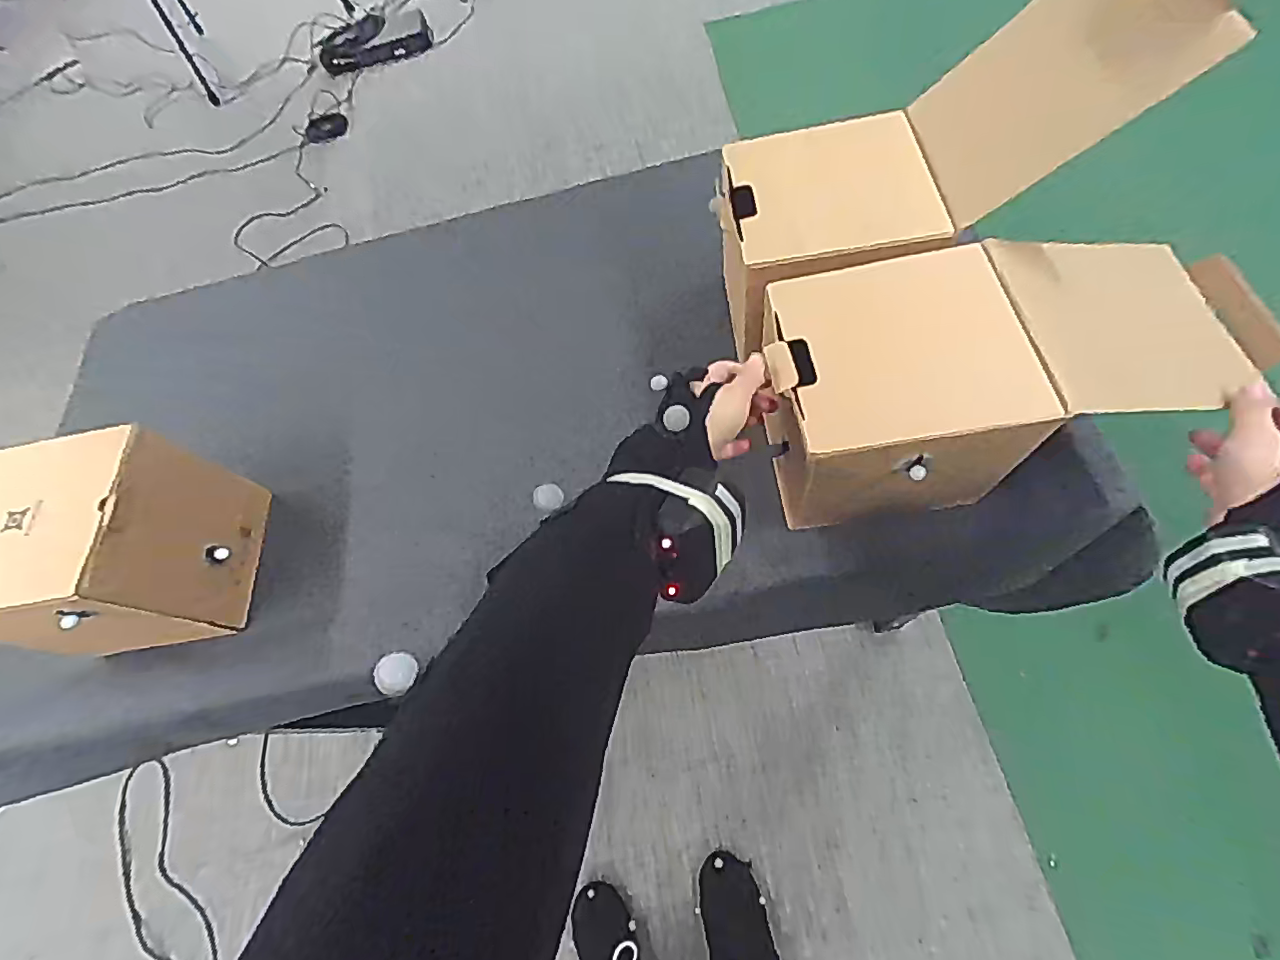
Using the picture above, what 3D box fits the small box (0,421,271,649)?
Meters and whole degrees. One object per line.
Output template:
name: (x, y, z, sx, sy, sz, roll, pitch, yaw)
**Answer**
small box: (-0.527, 0.066, 0.545, 0.179, 0.176, 0.168, -10, 63, 5)
